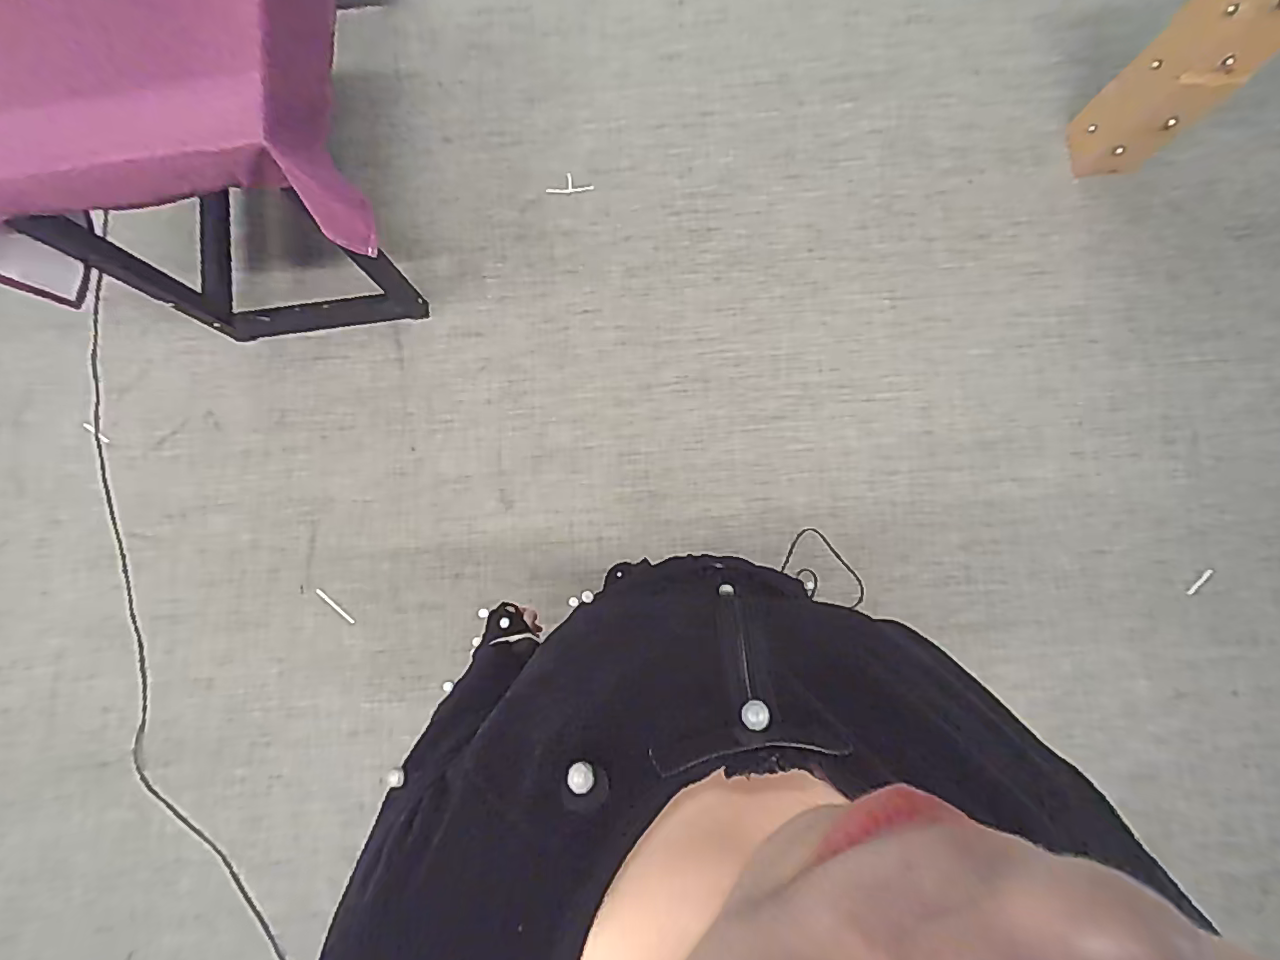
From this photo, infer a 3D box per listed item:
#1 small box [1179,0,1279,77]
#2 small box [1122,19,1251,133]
[{"bbox_3d":[1.408,-1.083,1.251,0.168,0.176,0.179,2,83,1],"label":"small box"},{"bbox_3d":[1.411,-1.049,1.410,0.168,0.176,0.179,-1,82,2],"label":"small box"}]
